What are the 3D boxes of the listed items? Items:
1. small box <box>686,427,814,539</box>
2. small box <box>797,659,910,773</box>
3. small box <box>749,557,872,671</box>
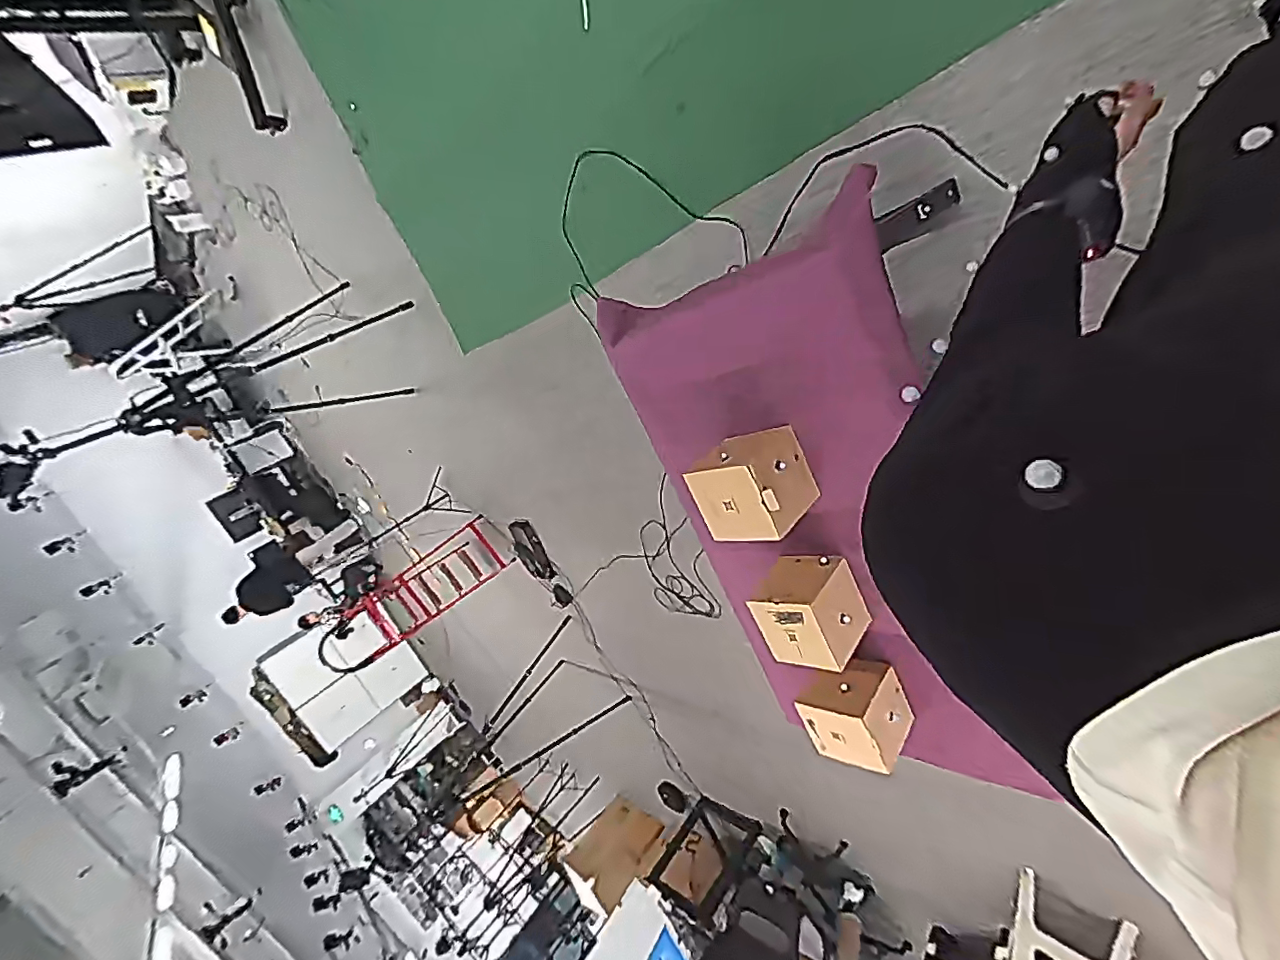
[{"bbox_3d":[0.234,0.007,1.107,0.179,0.176,0.168,-9,113,50],"label":"small box"},{"bbox_3d":[0.505,0.534,1.258,0.179,0.176,0.168,-11,111,50],"label":"small box"},{"bbox_3d":[0.376,0.283,1.184,0.168,0.176,0.179,-10,113,51],"label":"small box"}]
